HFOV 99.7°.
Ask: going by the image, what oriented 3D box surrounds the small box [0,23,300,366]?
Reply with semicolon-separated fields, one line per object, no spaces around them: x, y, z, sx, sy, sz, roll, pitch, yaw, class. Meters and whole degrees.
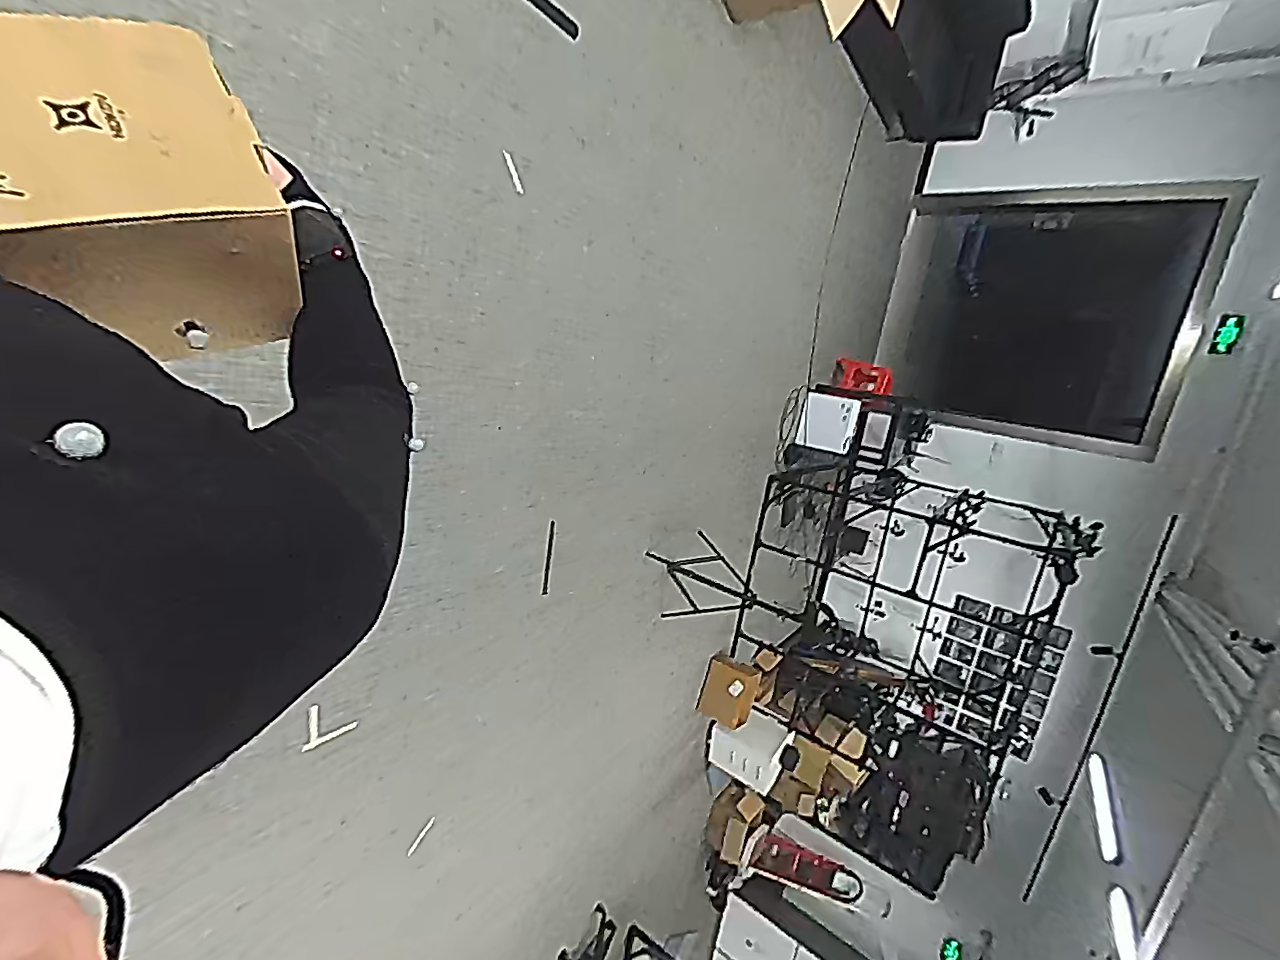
-0.402;-0.218;0.441;0.179;0.176;0.168;-25;83;-32;small box
